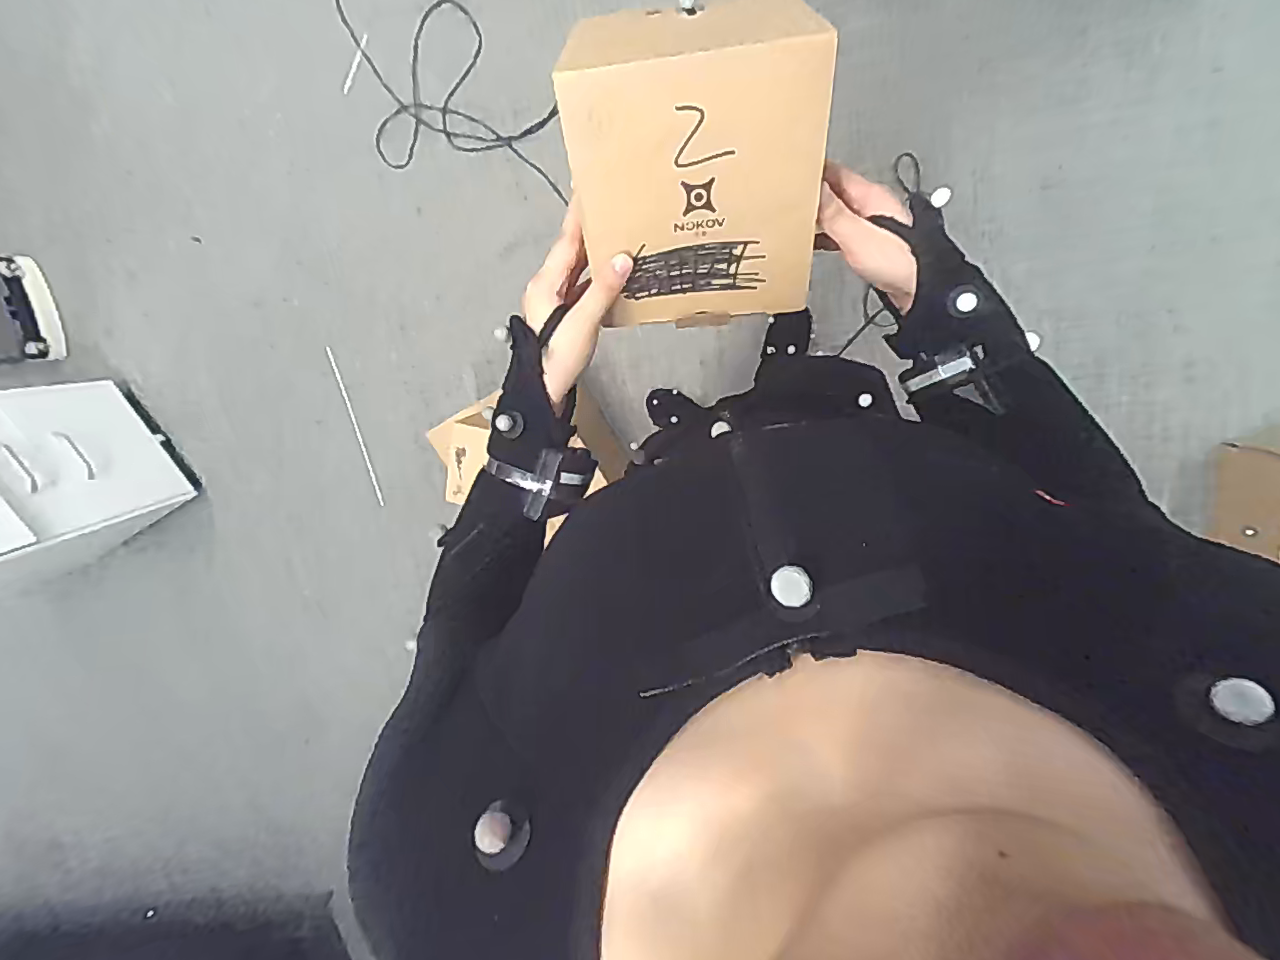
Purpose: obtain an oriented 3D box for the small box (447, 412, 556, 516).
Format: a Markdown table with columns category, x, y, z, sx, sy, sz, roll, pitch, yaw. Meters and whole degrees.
| category | x | y | z | sx | sy | sz | roll | pitch | yaw |
| --- | --- | --- | --- | --- | --- | --- | --- | --- | --- |
| small box | -0.283 | -0.041 | 1.136 | 0.179 | 0.176 | 0.168 | 11 | 106 | 1 |
